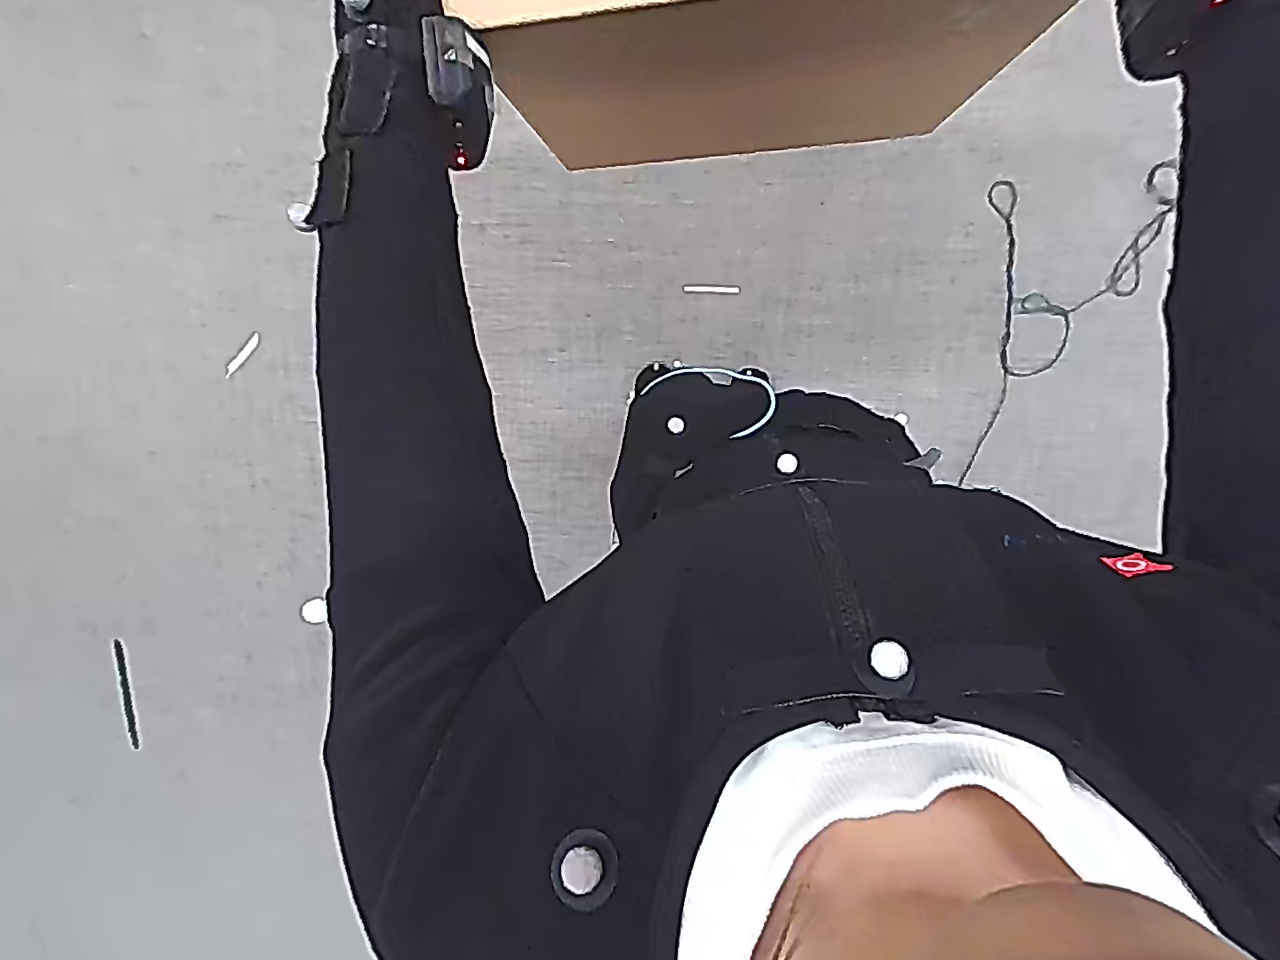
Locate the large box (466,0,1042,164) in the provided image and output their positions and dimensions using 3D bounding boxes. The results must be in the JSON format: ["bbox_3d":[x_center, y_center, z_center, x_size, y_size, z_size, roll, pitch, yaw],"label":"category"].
[{"bbox_3d":[0.085,-0.487,0.428,0.408,0.320,0.320,-3,105,6],"label":"large box"}]
